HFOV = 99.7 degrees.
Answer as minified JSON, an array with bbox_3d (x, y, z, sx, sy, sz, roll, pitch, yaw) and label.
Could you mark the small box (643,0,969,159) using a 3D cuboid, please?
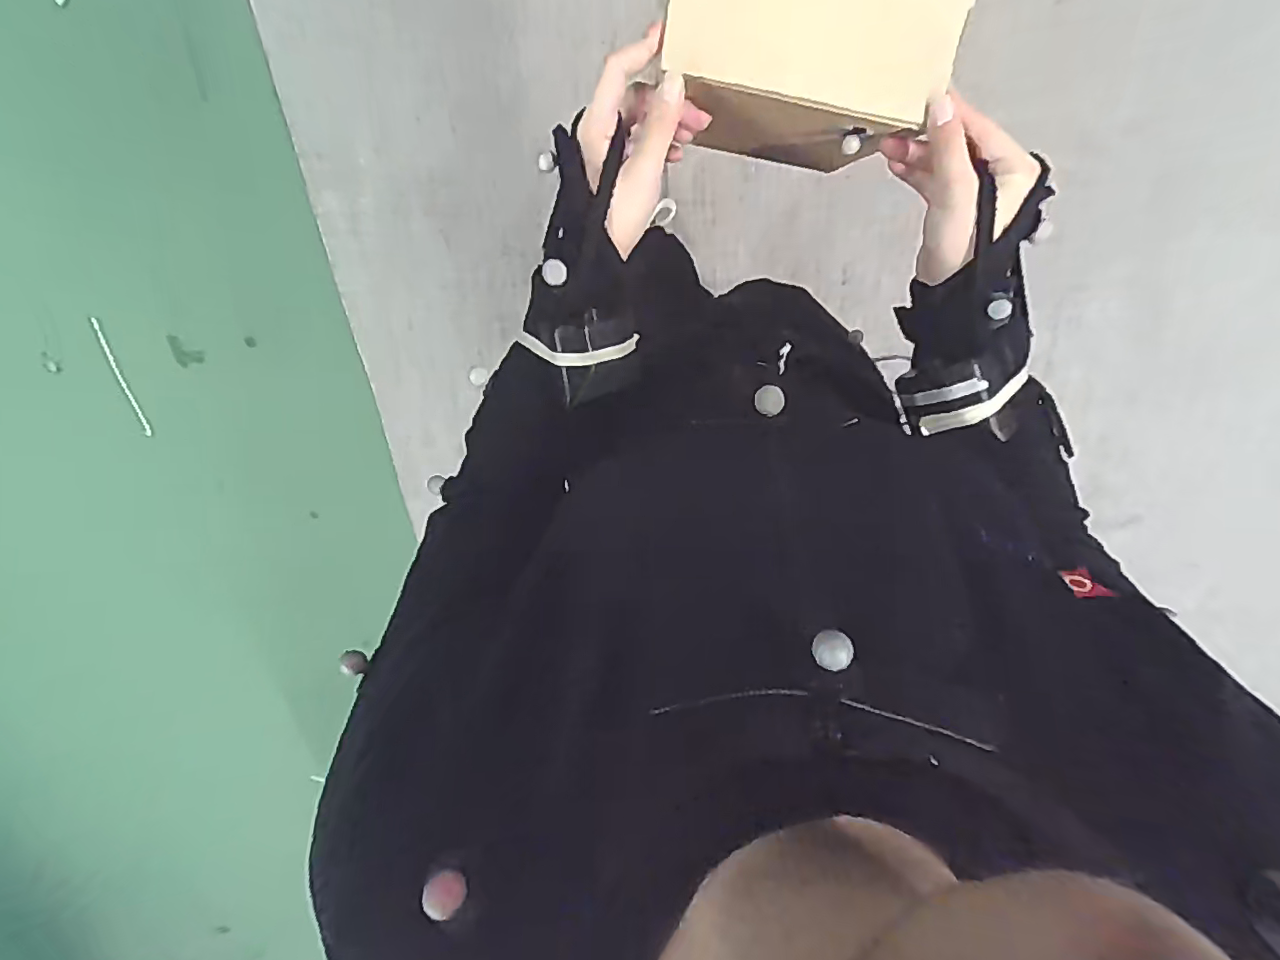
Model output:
[{"bbox_3d":[0.101,-0.334,0.364,0.179,0.176,0.168,6,111,-7],"label":"small box"}]
